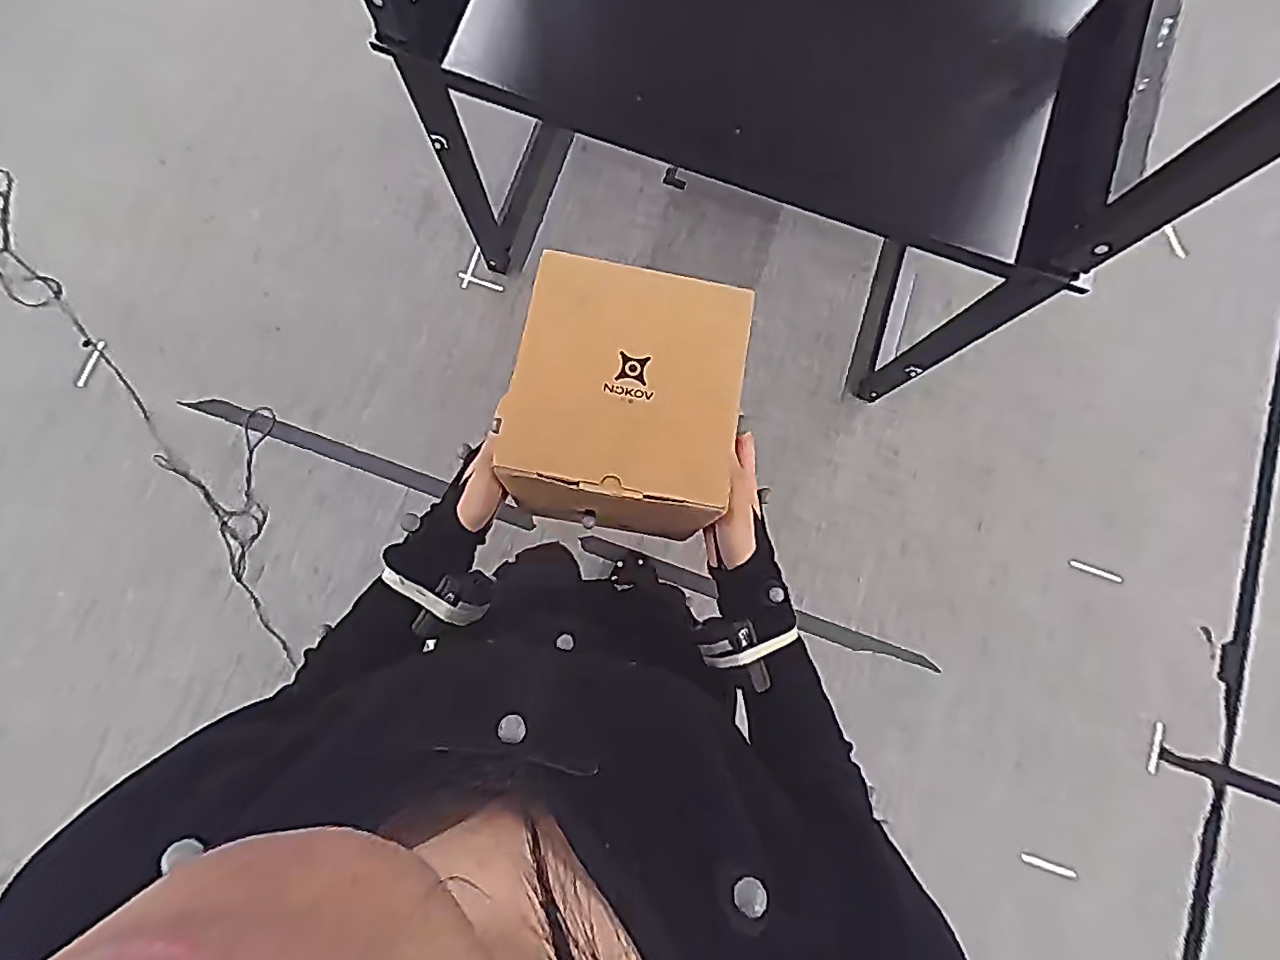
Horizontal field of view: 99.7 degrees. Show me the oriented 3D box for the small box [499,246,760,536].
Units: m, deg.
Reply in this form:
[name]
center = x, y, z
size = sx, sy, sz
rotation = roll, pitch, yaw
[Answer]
[small box]
center = -0.010, -0.059, 0.460
size = 0.168, 0.176, 0.179
rotation = 10, 77, -3
